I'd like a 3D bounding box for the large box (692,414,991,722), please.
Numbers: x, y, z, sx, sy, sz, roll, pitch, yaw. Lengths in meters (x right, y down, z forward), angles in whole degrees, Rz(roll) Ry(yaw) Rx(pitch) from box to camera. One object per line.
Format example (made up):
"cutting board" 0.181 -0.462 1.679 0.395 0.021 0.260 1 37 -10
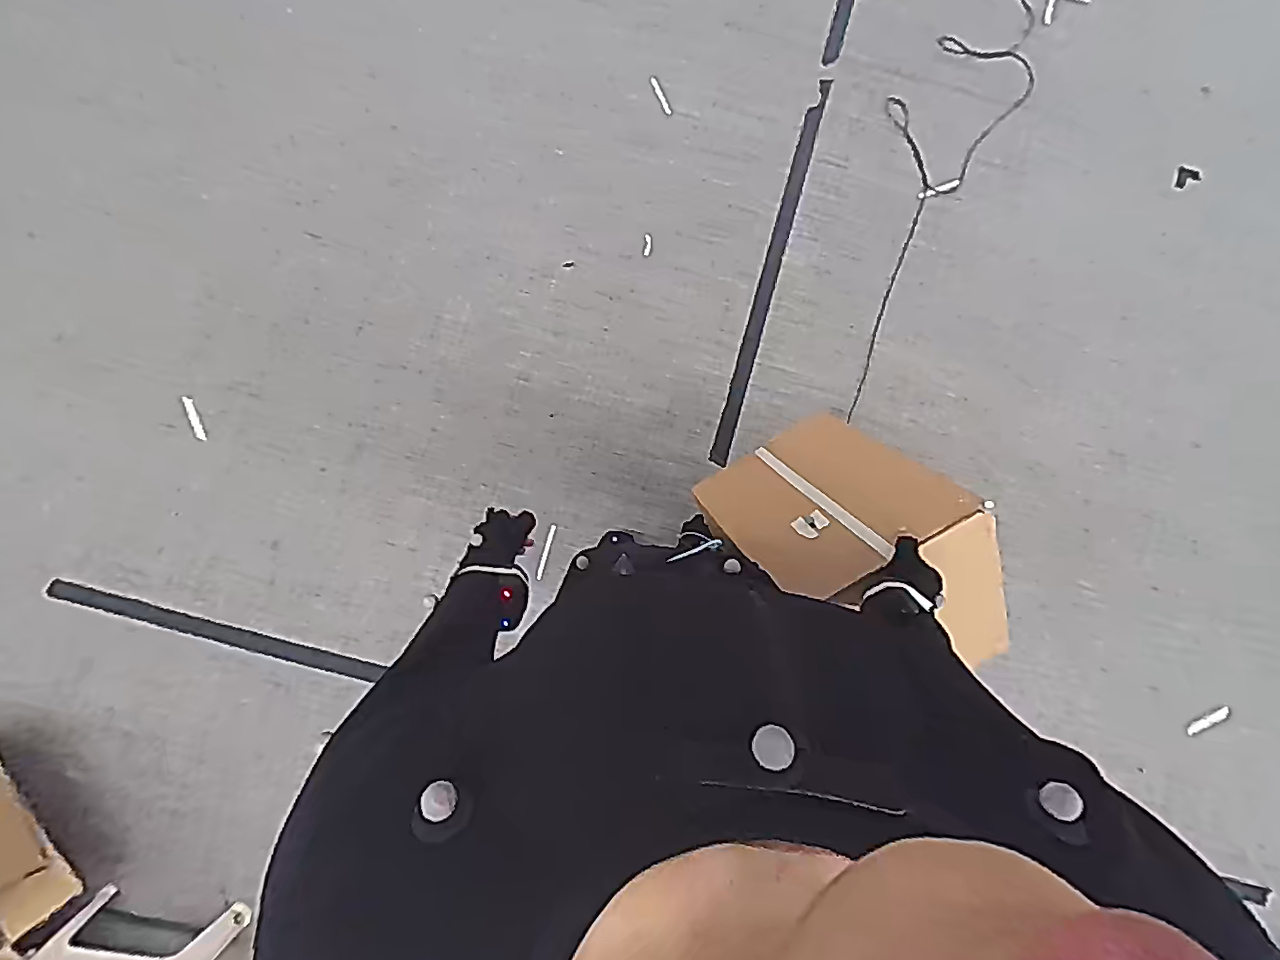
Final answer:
"large box" 0.347 0.135 0.989 0.320 0.408 0.320 -29 121 -2
